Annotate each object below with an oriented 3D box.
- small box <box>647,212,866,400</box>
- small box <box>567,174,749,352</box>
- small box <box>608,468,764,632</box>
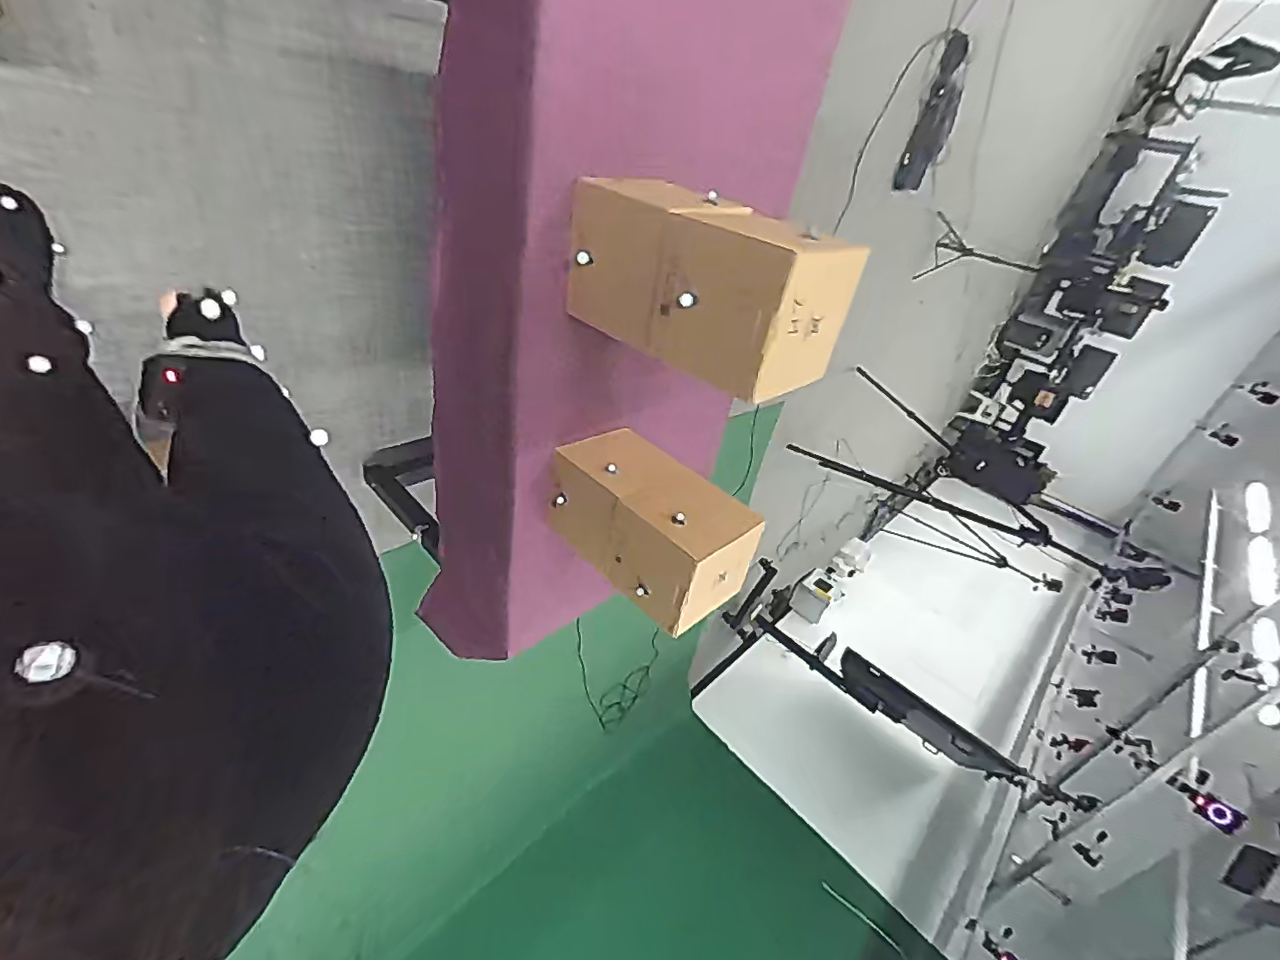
[{"bbox_3d":[0.136,-0.221,0.662,0.179,0.176,0.168,-24,137,-40],"label":"small box"},{"bbox_3d":[0.016,-0.301,0.743,0.168,0.176,0.179,-26,140,-40],"label":"small box"},{"bbox_3d":[0.068,0.105,0.887,0.179,0.176,0.168,-24,138,-41],"label":"small box"}]
